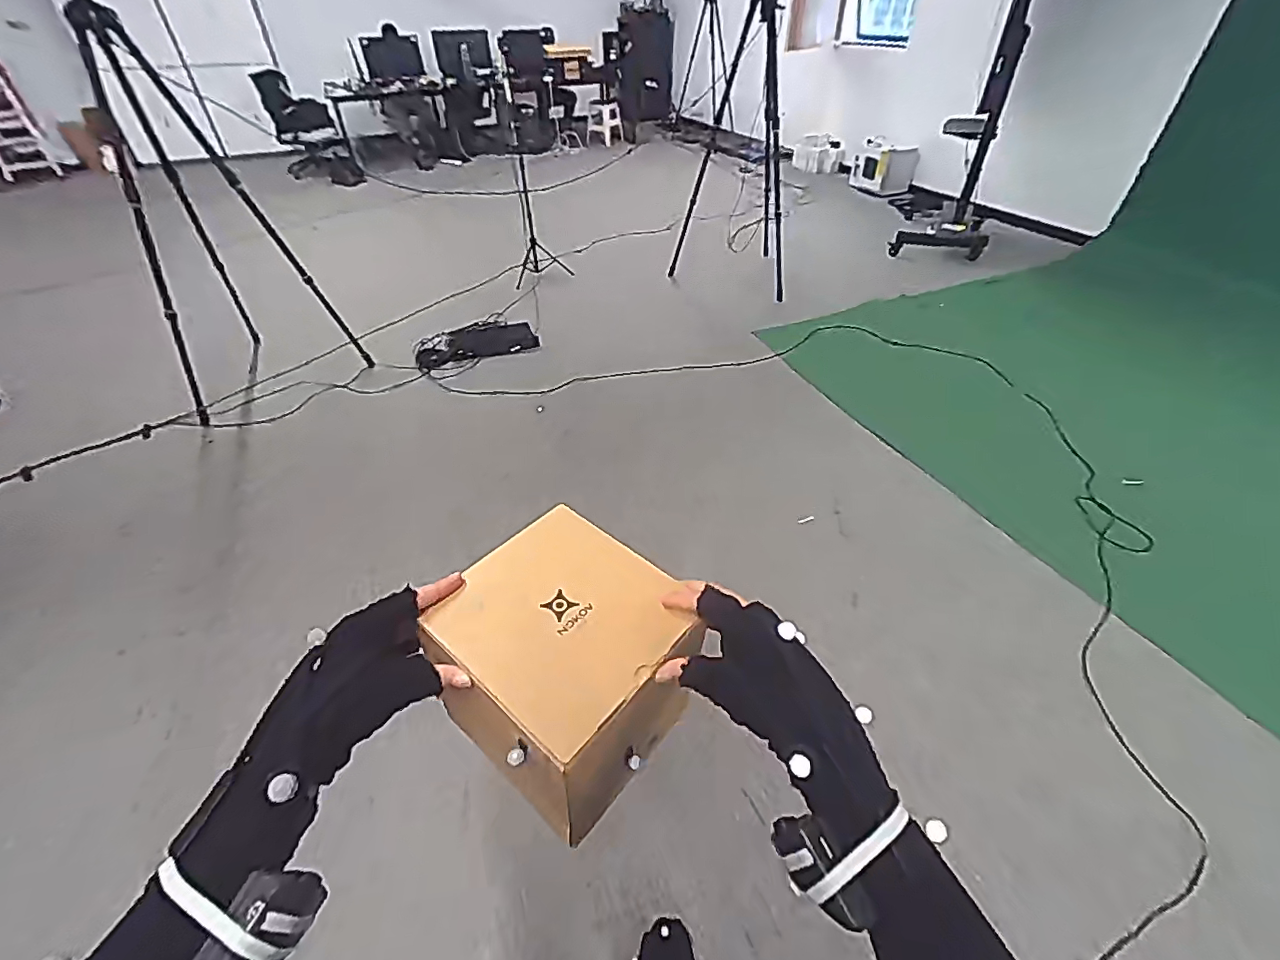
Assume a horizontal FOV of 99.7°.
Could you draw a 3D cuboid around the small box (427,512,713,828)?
[{"bbox_3d":[-0.061,0.167,0.490,0.179,0.176,0.168,31,47,27],"label":"small box"}]
